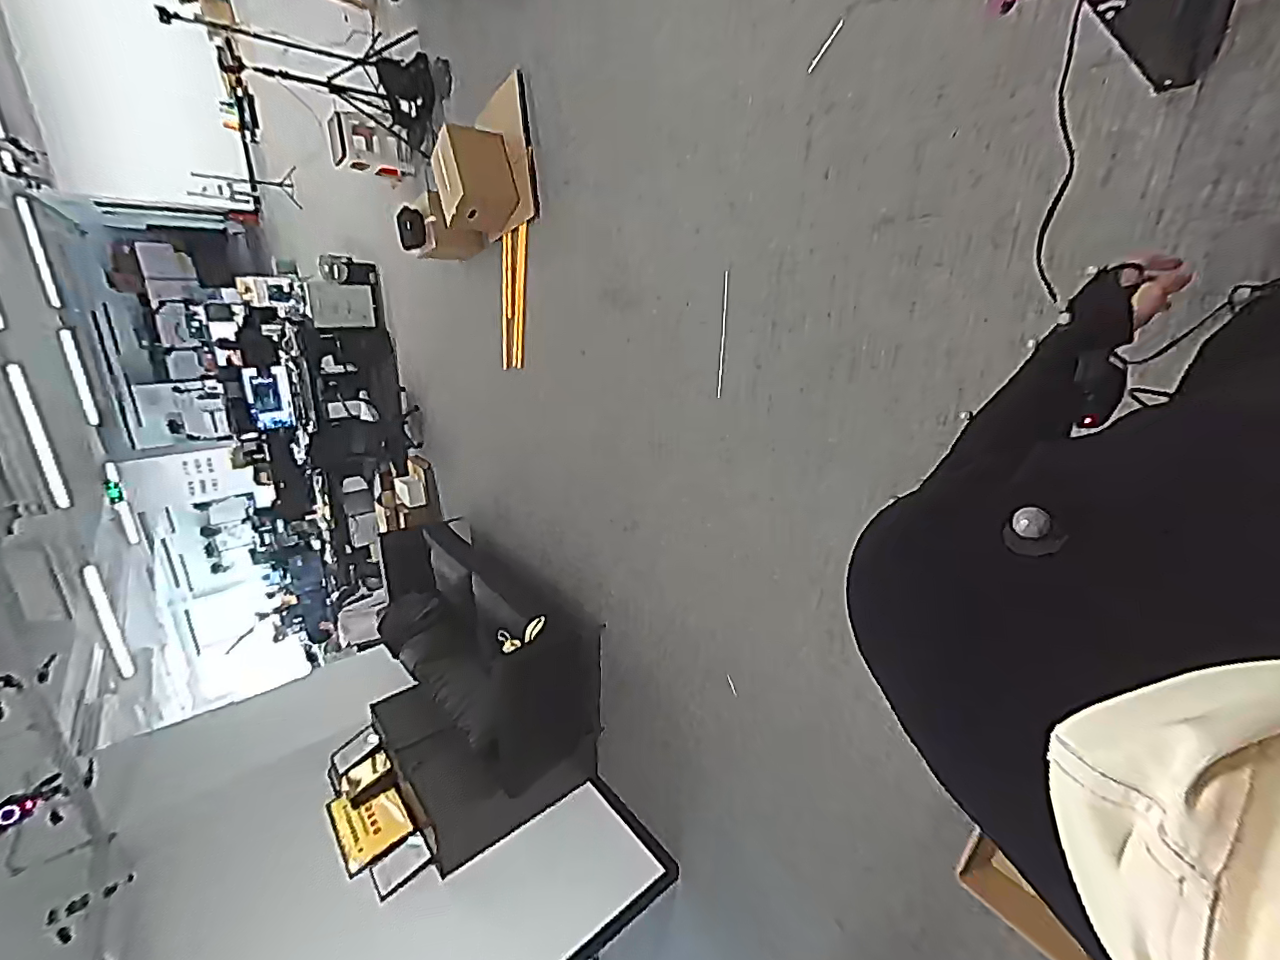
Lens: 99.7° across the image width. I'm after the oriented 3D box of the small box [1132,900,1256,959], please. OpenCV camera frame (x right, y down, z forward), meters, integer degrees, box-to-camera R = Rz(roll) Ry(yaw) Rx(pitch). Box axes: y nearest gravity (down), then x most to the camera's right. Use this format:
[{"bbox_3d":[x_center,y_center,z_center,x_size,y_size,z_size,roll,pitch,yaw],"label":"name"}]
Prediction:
[{"bbox_3d":[1.279,1.144,1.253,0.168,0.176,0.179,28,123,43],"label":"small box"}]
